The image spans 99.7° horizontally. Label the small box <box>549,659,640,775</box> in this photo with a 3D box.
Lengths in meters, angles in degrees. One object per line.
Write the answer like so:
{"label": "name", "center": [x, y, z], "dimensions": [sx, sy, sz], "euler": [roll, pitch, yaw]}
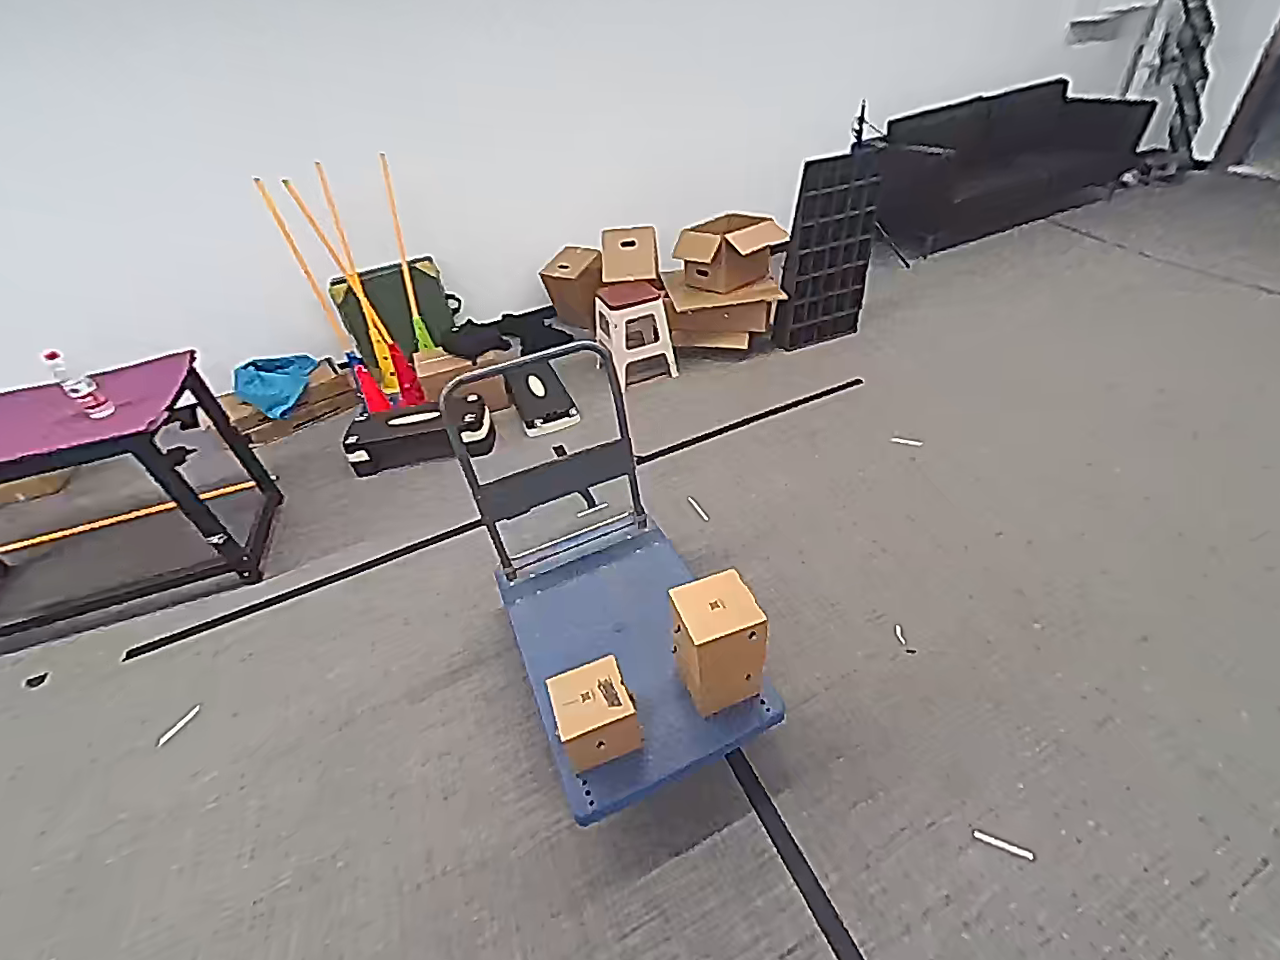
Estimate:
{"label": "small box", "center": [-0.106, 0.574, 1.310], "dimensions": [0.179, 0.176, 0.168], "euler": [-18, 40, -11]}

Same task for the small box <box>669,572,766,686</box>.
{"label": "small box", "center": [0.181, 0.353, 1.274], "dimensions": [0.179, 0.176, 0.168], "euler": [-16, 39, -12]}
